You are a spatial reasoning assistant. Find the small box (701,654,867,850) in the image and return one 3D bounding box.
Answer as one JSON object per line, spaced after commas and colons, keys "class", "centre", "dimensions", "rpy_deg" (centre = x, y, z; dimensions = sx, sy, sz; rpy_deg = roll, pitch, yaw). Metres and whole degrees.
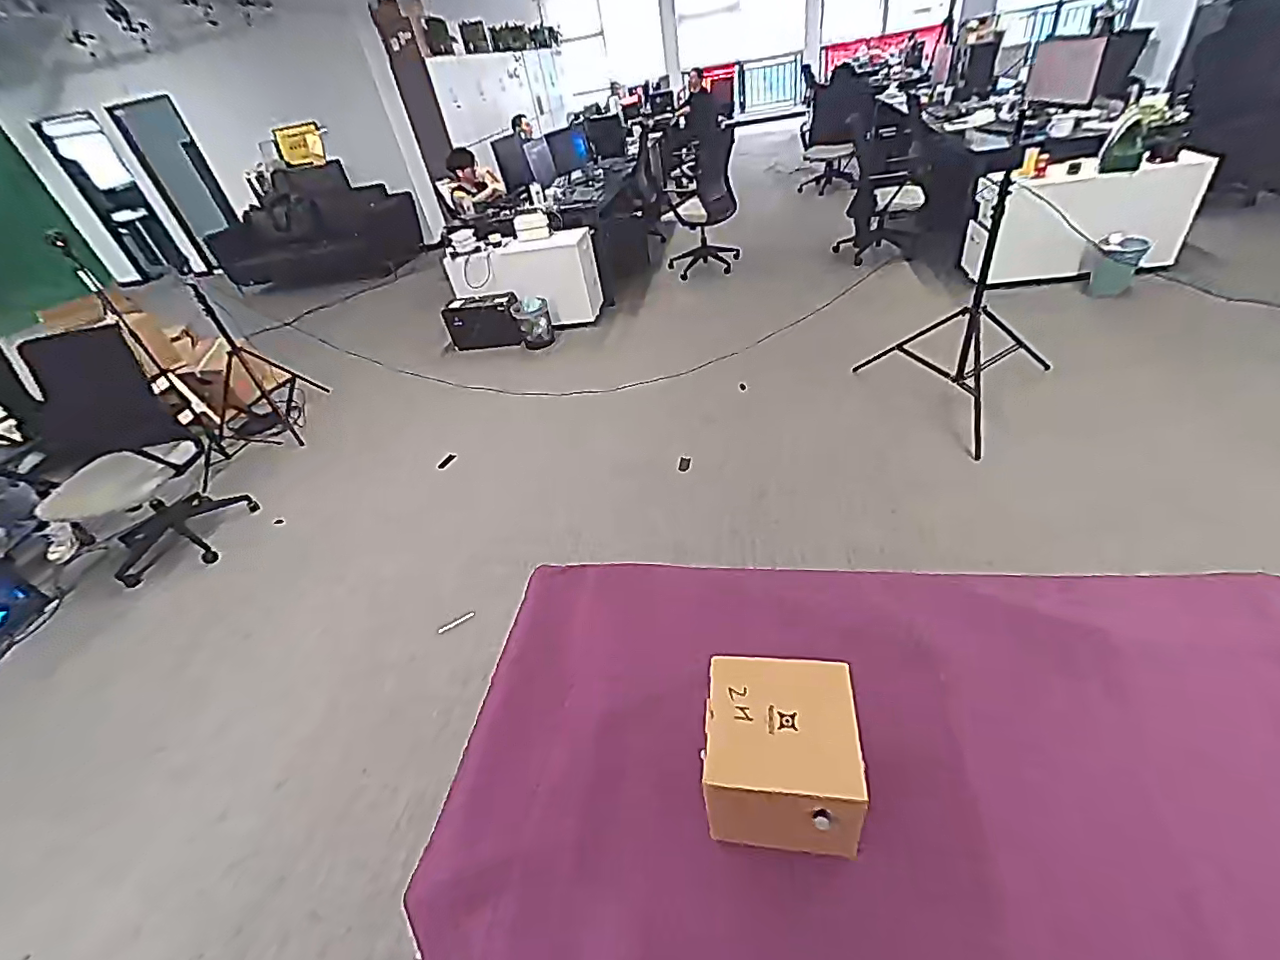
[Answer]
{"class": "small box", "centre": [0.178, 0.345, 0.690], "dimensions": [0.179, 0.176, 0.168], "rpy_deg": [-1, 38, 13]}
